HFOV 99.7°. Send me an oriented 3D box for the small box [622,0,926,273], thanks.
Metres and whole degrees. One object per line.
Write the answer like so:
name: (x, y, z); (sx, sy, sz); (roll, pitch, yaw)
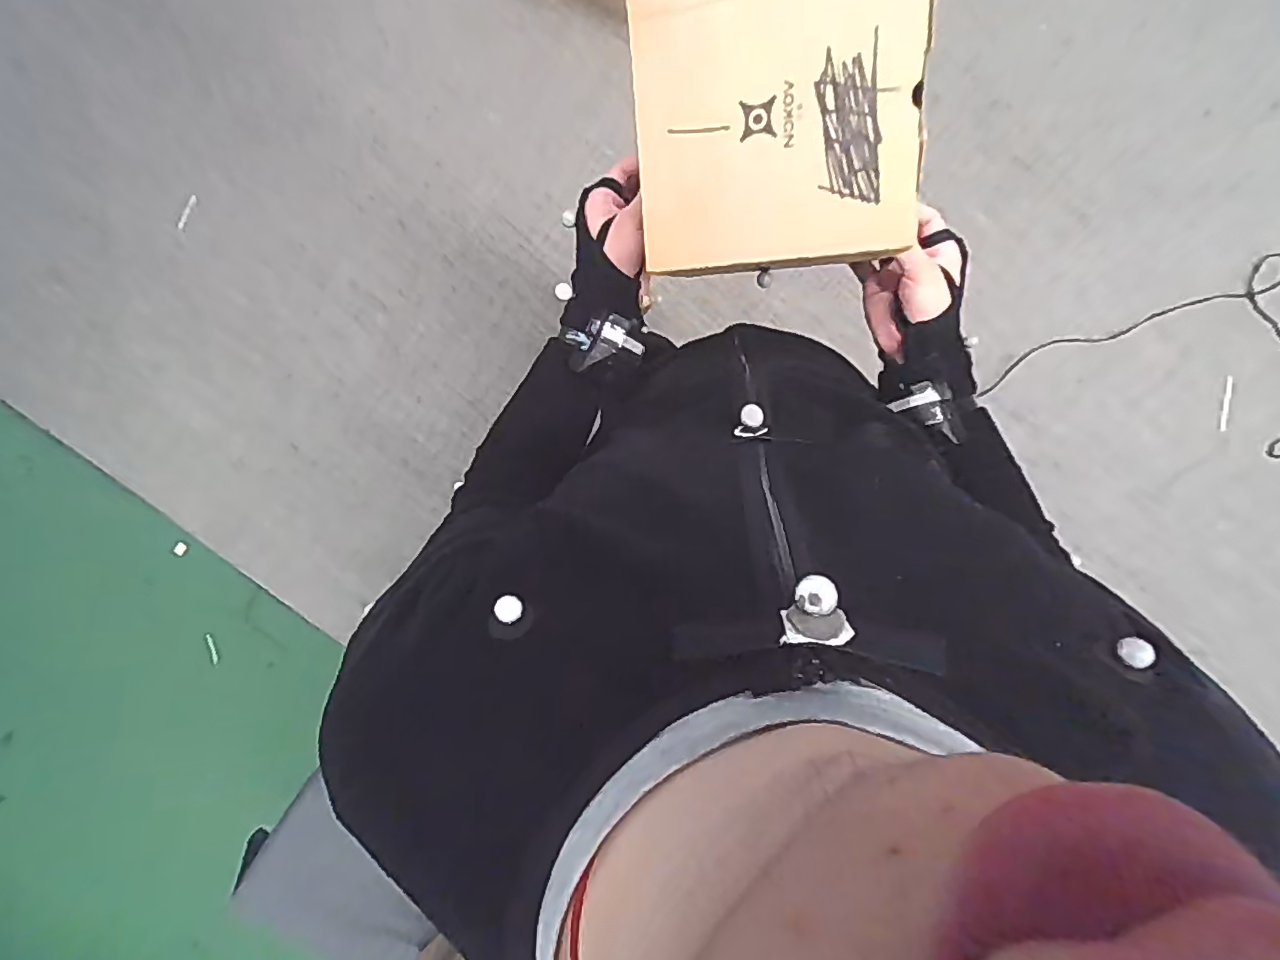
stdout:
small box: (0.097, -0.250, 0.406); (0.179, 0.176, 0.168); (1, 109, 15)
